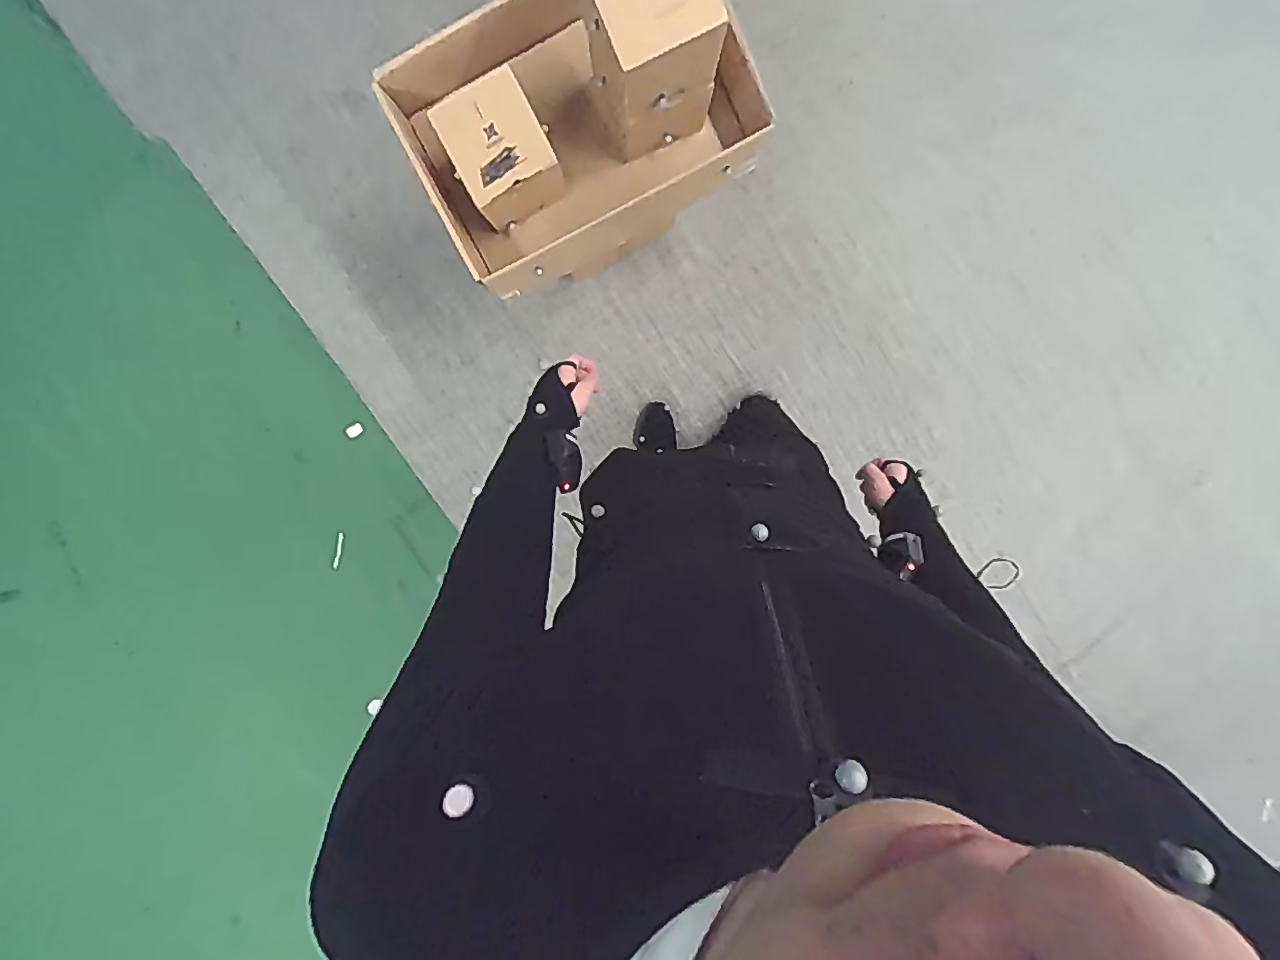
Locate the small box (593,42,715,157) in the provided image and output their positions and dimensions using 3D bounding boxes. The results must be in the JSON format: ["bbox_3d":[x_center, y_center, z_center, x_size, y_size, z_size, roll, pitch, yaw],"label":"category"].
[{"bbox_3d":[0.018,-0.730,0.977,0.168,0.176,0.179,-23,100,3],"label":"small box"}]

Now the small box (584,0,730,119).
[{"bbox_3d":[0.017,-0.699,0.817,0.168,0.176,0.179,-23,100,3],"label":"small box"}]
